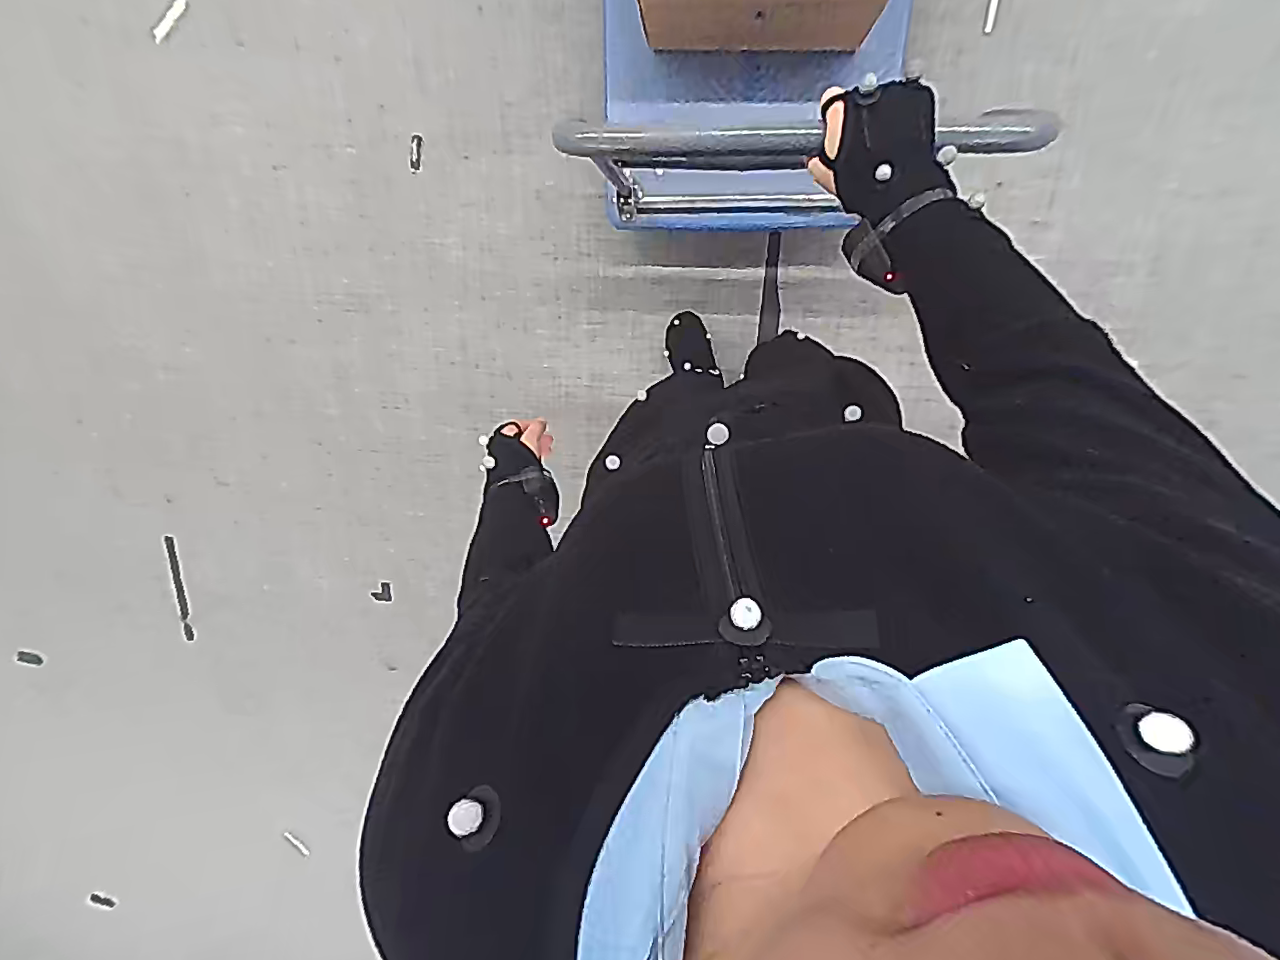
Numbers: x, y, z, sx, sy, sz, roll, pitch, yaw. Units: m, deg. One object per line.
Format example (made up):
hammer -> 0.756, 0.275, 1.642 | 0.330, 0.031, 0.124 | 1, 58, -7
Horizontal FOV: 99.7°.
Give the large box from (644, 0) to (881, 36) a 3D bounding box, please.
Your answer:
large box -> 0.205, -0.941, 0.836 | 0.408, 0.320, 0.320 | 4, 108, 6
